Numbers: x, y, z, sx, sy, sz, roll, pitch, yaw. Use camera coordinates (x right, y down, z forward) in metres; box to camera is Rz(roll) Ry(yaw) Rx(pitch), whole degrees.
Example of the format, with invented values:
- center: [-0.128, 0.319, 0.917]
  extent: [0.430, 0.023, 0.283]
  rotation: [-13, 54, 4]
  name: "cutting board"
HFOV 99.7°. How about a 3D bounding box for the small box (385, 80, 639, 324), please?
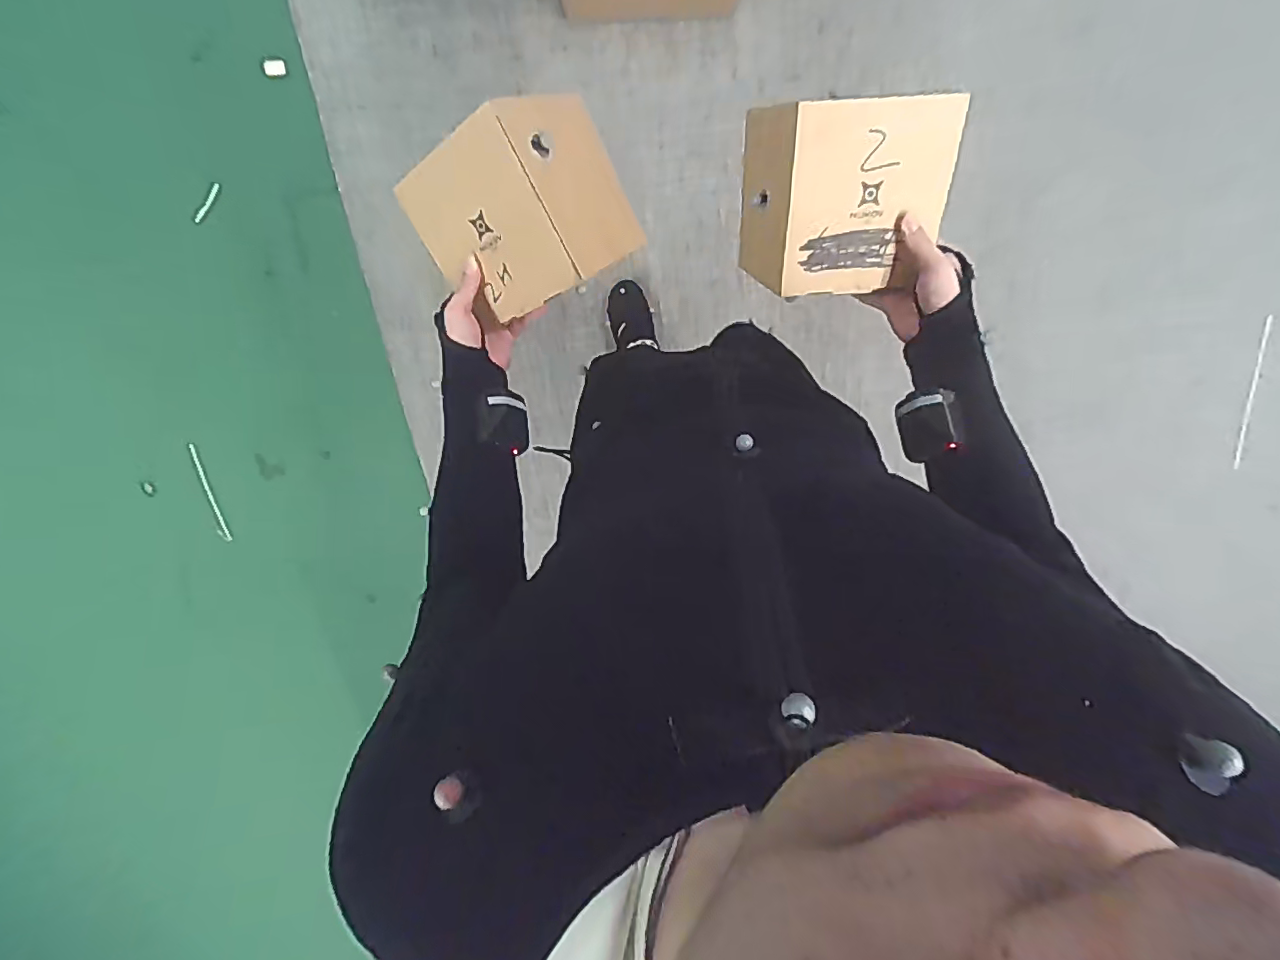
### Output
- center: [-0.130, -0.304, 0.601]
  extent: [0.168, 0.176, 0.179]
  rotation: [-11, 118, 36]
  name: "small box"
